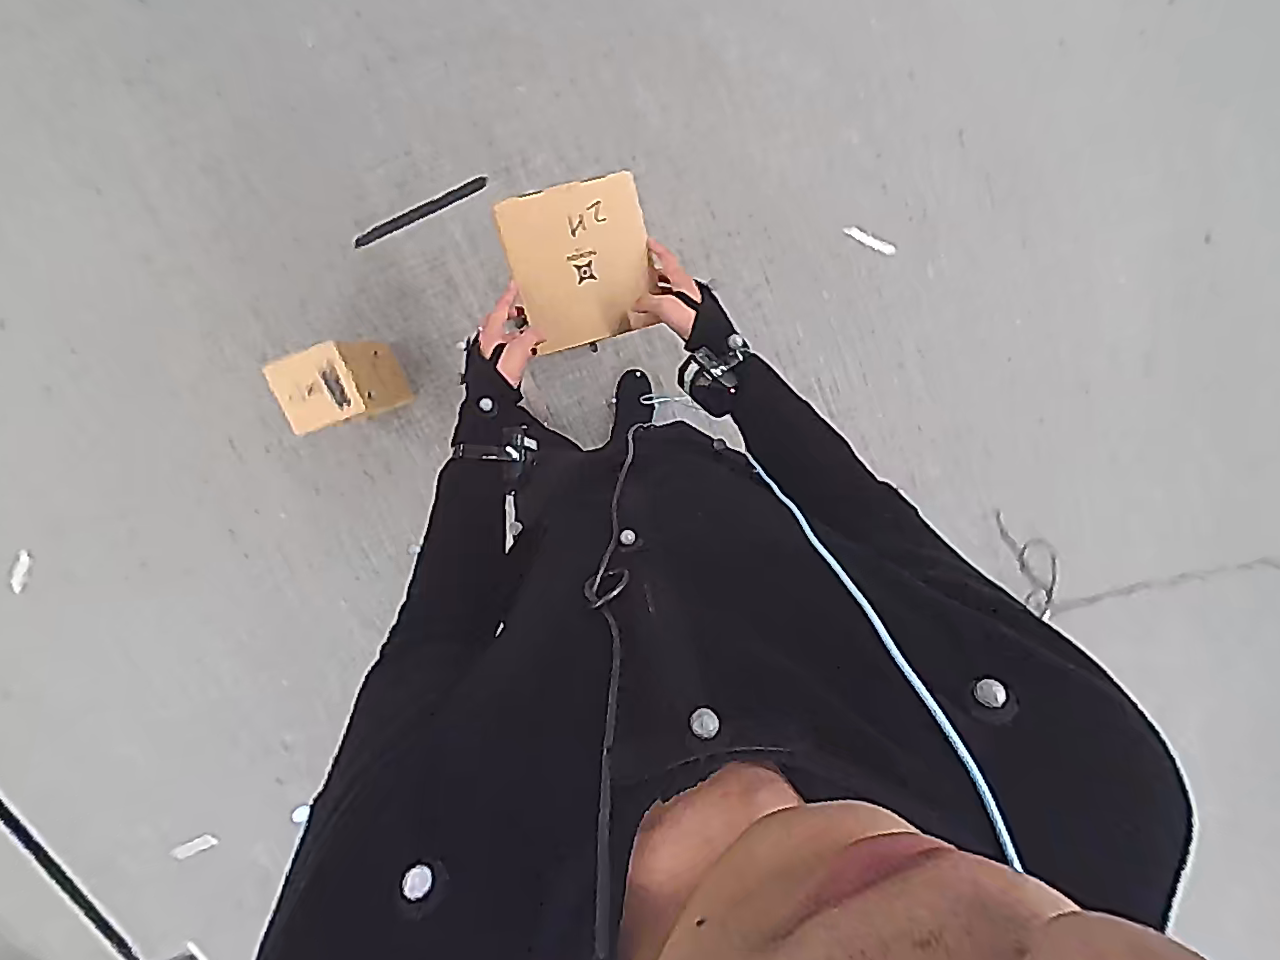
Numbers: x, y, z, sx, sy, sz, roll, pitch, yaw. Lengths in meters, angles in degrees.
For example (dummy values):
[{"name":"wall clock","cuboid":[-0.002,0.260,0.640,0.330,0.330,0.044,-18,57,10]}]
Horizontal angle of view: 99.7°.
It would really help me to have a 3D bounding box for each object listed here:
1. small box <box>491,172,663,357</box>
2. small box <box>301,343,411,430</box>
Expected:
[{"name":"small box","cuboid":[-0.083,-0.267,0.703,0.168,0.176,0.179,-17,106,-8]},{"name":"small box","cuboid":[-0.739,-0.251,1.433,0.168,0.176,0.179,-23,102,1]}]
